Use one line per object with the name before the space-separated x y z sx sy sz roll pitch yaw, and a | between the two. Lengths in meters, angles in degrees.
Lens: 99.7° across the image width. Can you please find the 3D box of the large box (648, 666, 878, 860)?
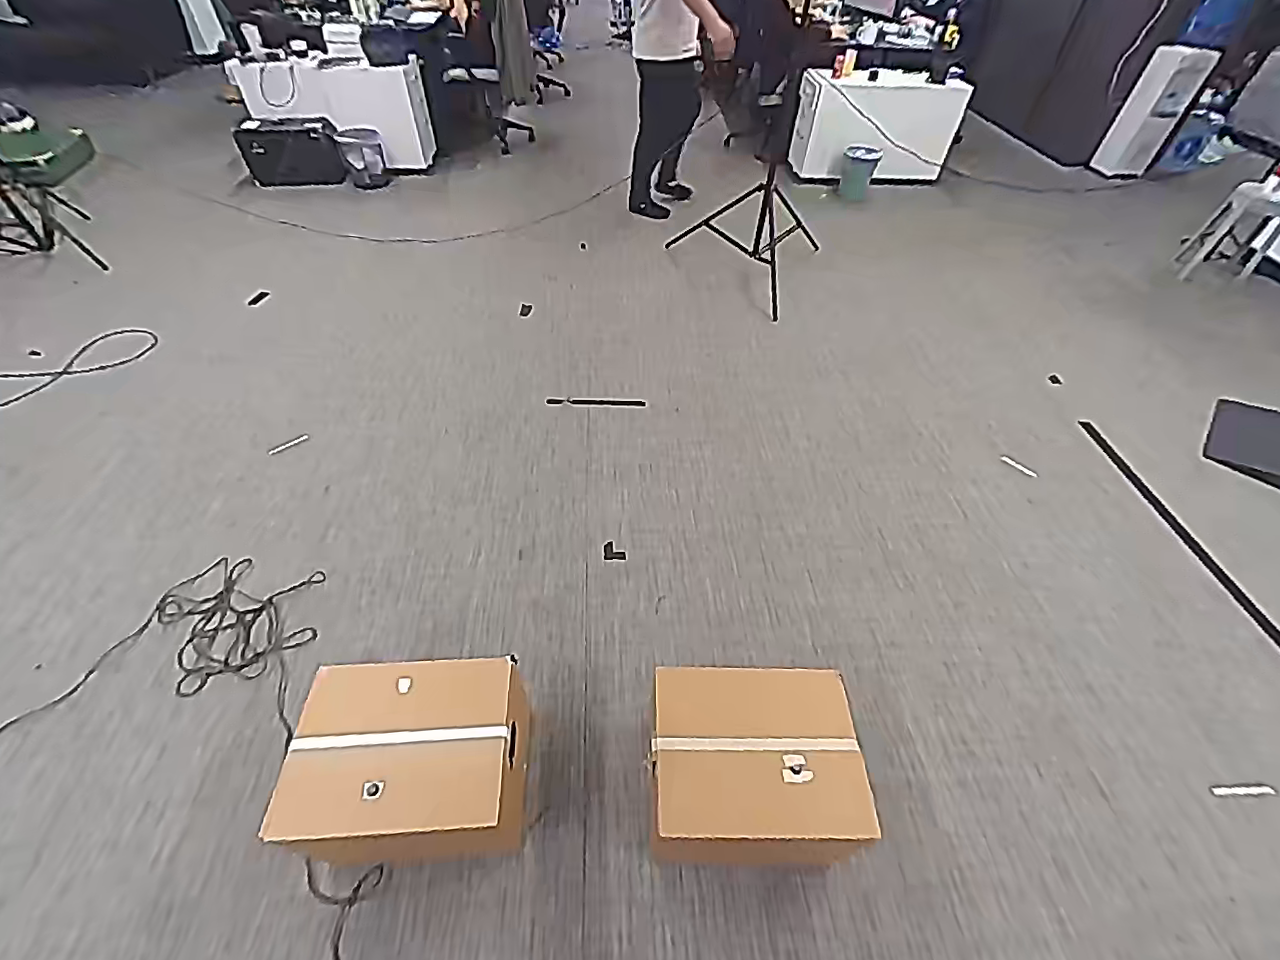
large box | 0.228 0.621 1.185 0.408 0.320 0.320 2 48 -2
